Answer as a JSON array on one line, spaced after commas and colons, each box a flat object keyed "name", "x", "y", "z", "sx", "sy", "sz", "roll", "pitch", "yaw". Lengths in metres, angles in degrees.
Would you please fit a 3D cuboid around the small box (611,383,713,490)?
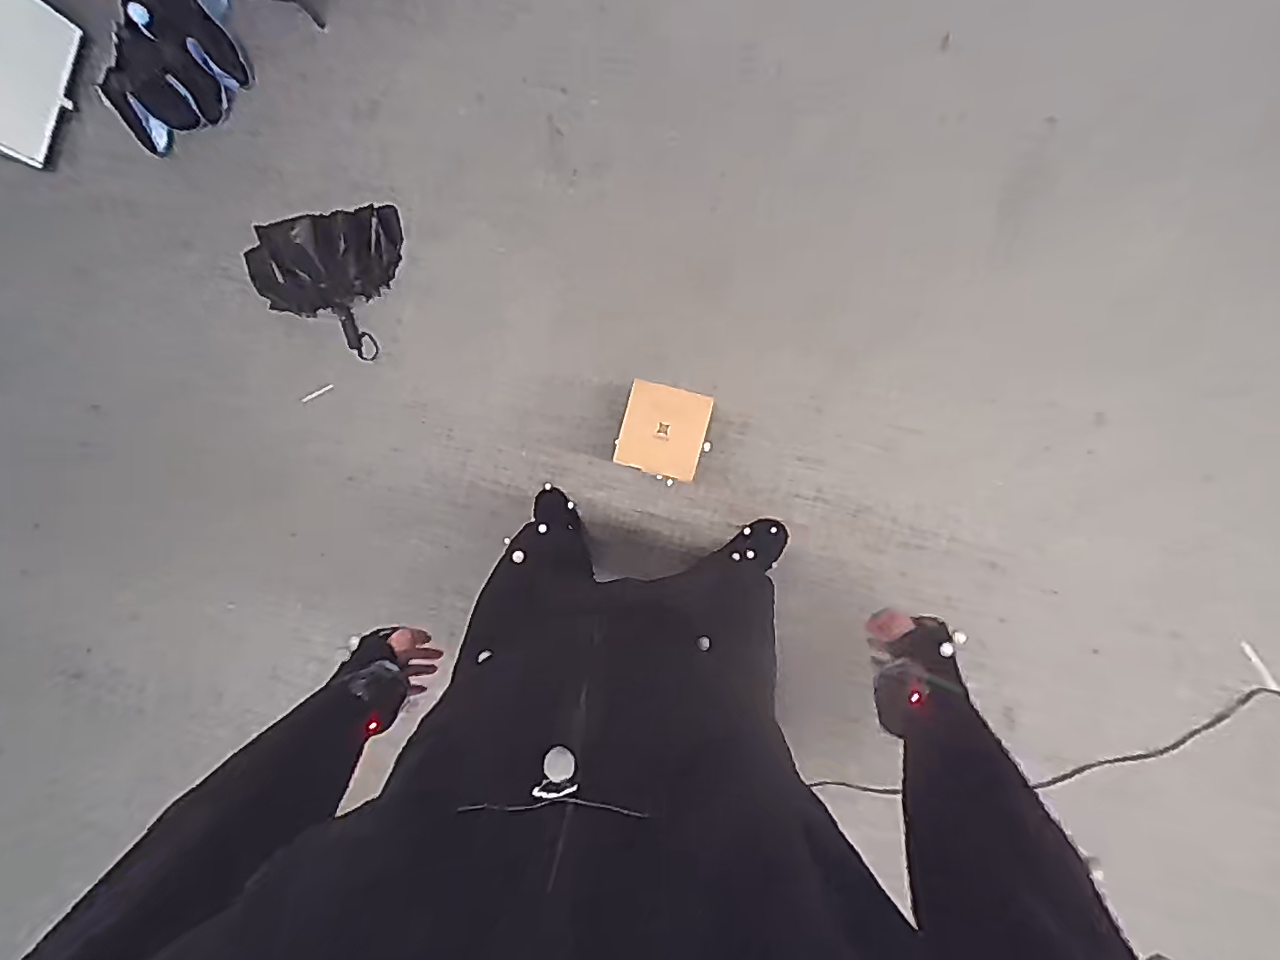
[{"name": "small box", "x": 0.050, "y": -0.086, "z": 1.113, "sx": 0.168, "sy": 0.176, "sz": 0.179, "roll": 14, "pitch": 92, "yaw": 5}]
